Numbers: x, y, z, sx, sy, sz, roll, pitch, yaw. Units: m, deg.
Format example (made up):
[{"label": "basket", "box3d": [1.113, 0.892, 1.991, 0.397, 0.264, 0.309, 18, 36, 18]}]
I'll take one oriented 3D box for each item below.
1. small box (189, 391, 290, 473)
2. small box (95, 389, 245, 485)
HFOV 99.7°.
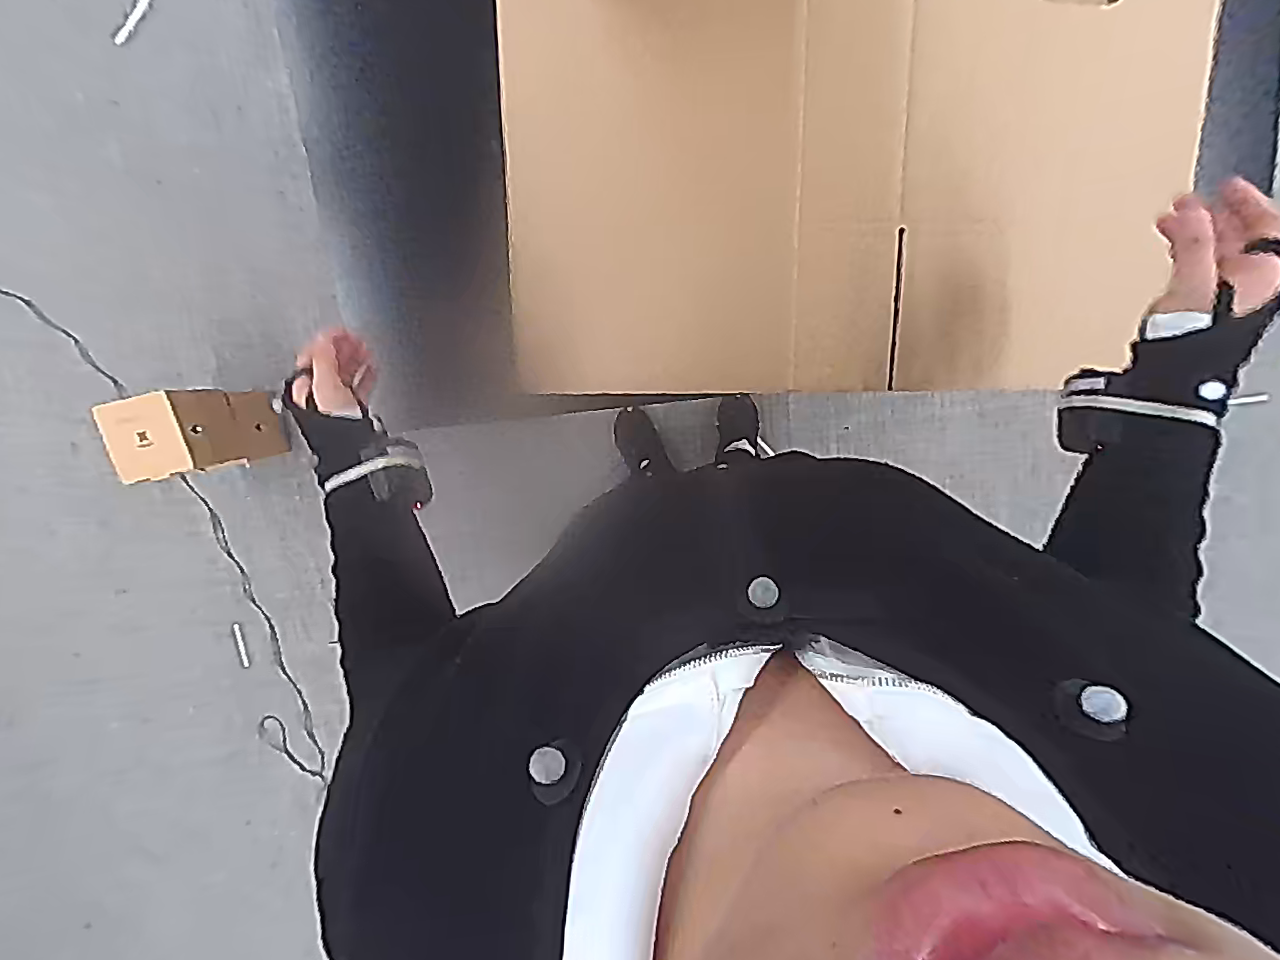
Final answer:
[{"label": "small box", "box3d": [-1.046, -0.129, 1.385, 0.168, 0.176, 0.179, -10, 101, 2]}, {"label": "small box", "box3d": [-1.048, -0.103, 1.225, 0.168, 0.176, 0.179, -13, 100, 1]}]
